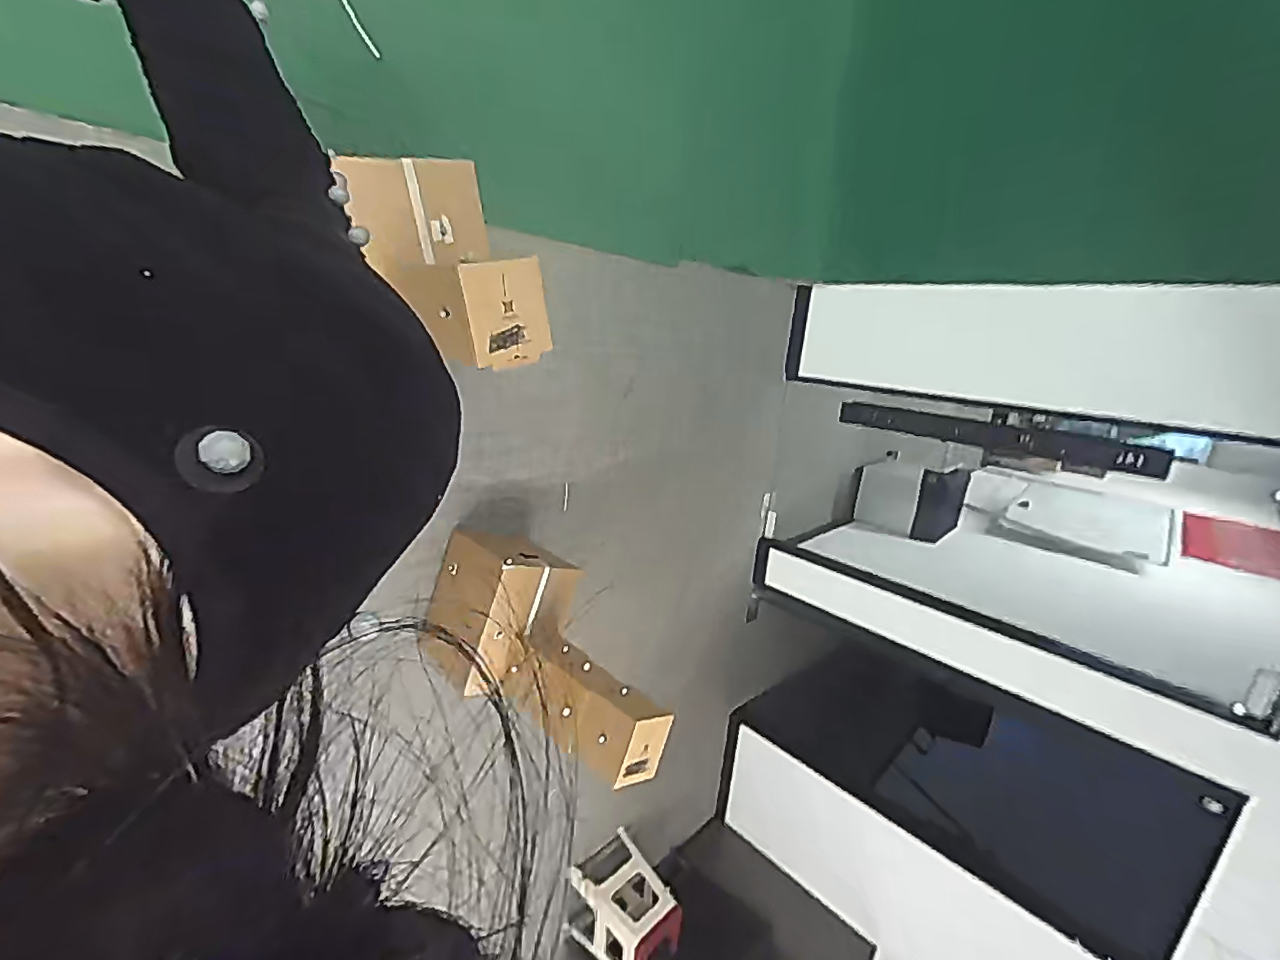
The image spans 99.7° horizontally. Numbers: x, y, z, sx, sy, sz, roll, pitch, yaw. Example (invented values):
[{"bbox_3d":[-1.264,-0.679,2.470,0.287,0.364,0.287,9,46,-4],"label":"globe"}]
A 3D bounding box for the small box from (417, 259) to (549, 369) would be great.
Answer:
[{"bbox_3d":[-0.297,-0.320,1.026,0.168,0.176,0.179,-25,120,-38],"label":"small box"}]

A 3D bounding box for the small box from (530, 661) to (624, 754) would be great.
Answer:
[{"bbox_3d":[-0.181,0.626,1.510,0.168,0.176,0.179,20,89,-50],"label":"small box"}]

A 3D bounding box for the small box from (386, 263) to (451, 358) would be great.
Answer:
[{"bbox_3d":[-0.411,-0.361,1.137,0.168,0.176,0.179,-20,119,-41],"label":"small box"}]

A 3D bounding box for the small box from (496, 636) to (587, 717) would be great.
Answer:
[{"bbox_3d":[-0.294,0.577,1.615,0.179,0.176,0.168,18,91,-50],"label":"small box"}]

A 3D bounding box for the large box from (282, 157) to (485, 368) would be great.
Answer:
[{"bbox_3d":[-0.577,-0.505,1.278,0.320,0.320,0.408,-26,121,-39],"label":"large box"}]
